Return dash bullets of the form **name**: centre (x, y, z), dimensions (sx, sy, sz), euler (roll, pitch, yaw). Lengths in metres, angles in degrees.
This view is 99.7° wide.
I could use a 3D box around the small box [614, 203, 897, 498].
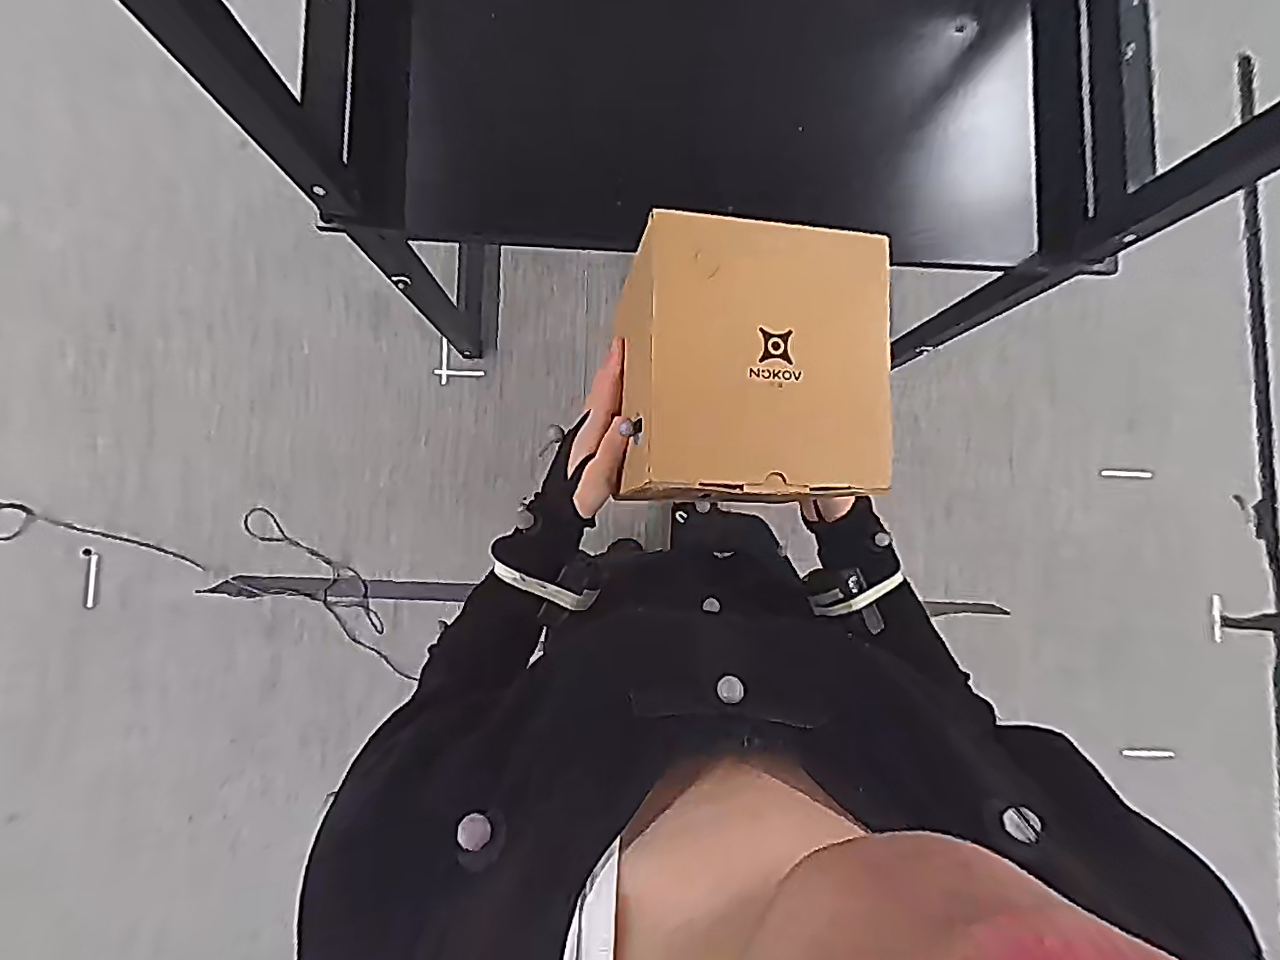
- **small box**: centre (0.072, -0.077, 0.418), dimensions (0.168, 0.176, 0.179), euler (1, 87, -10)
